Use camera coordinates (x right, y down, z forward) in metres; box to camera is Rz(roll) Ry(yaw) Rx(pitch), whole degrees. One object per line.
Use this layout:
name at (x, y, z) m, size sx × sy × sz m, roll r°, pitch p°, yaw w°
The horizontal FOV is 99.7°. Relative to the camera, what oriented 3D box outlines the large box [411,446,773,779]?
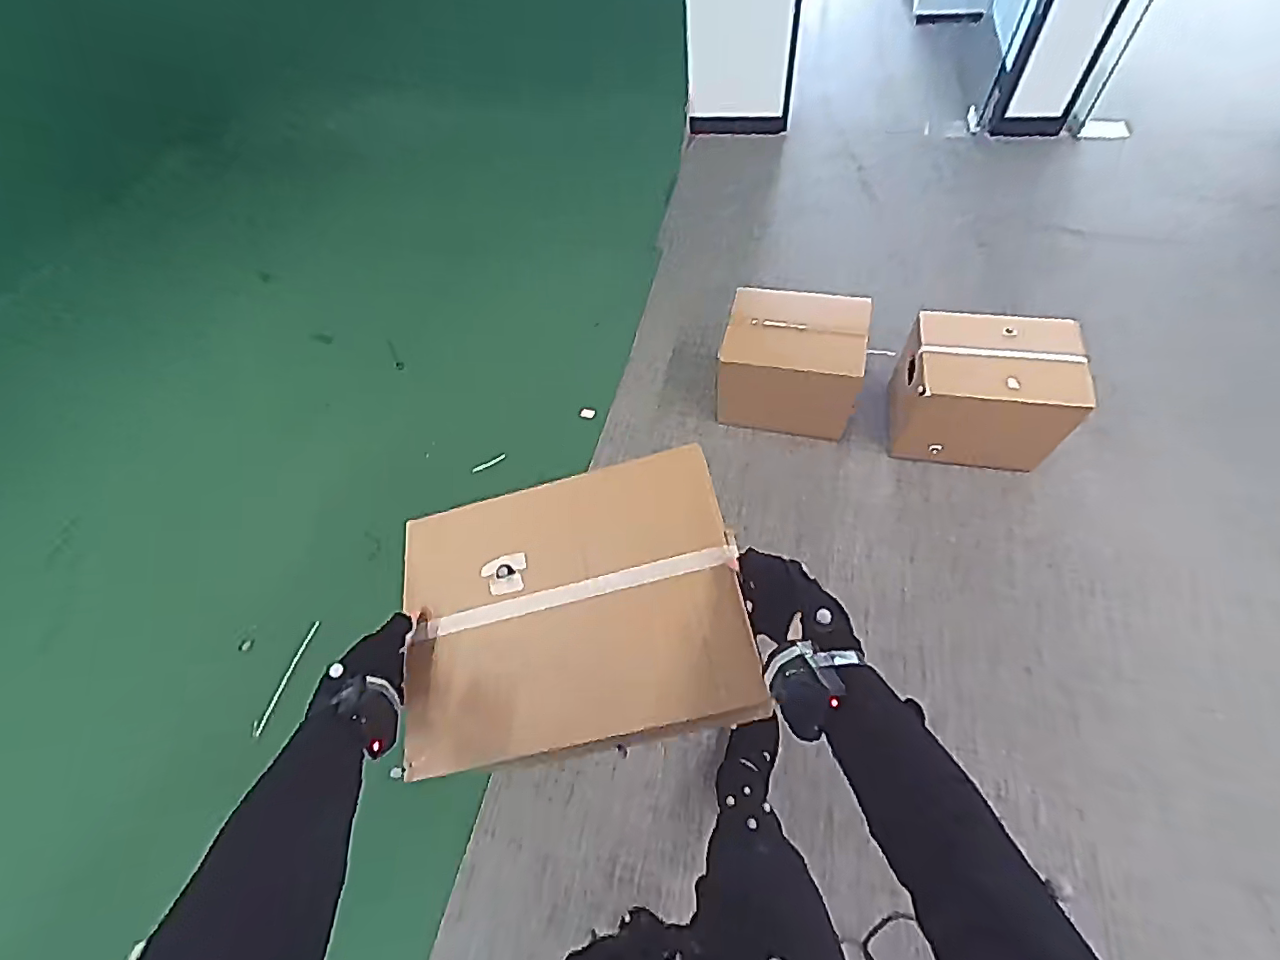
large box at (-0.053, 0.203, 0.768) m, size 0.408 × 0.320 × 0.320 m, roll -16°, pitch 61°, yaw 7°
